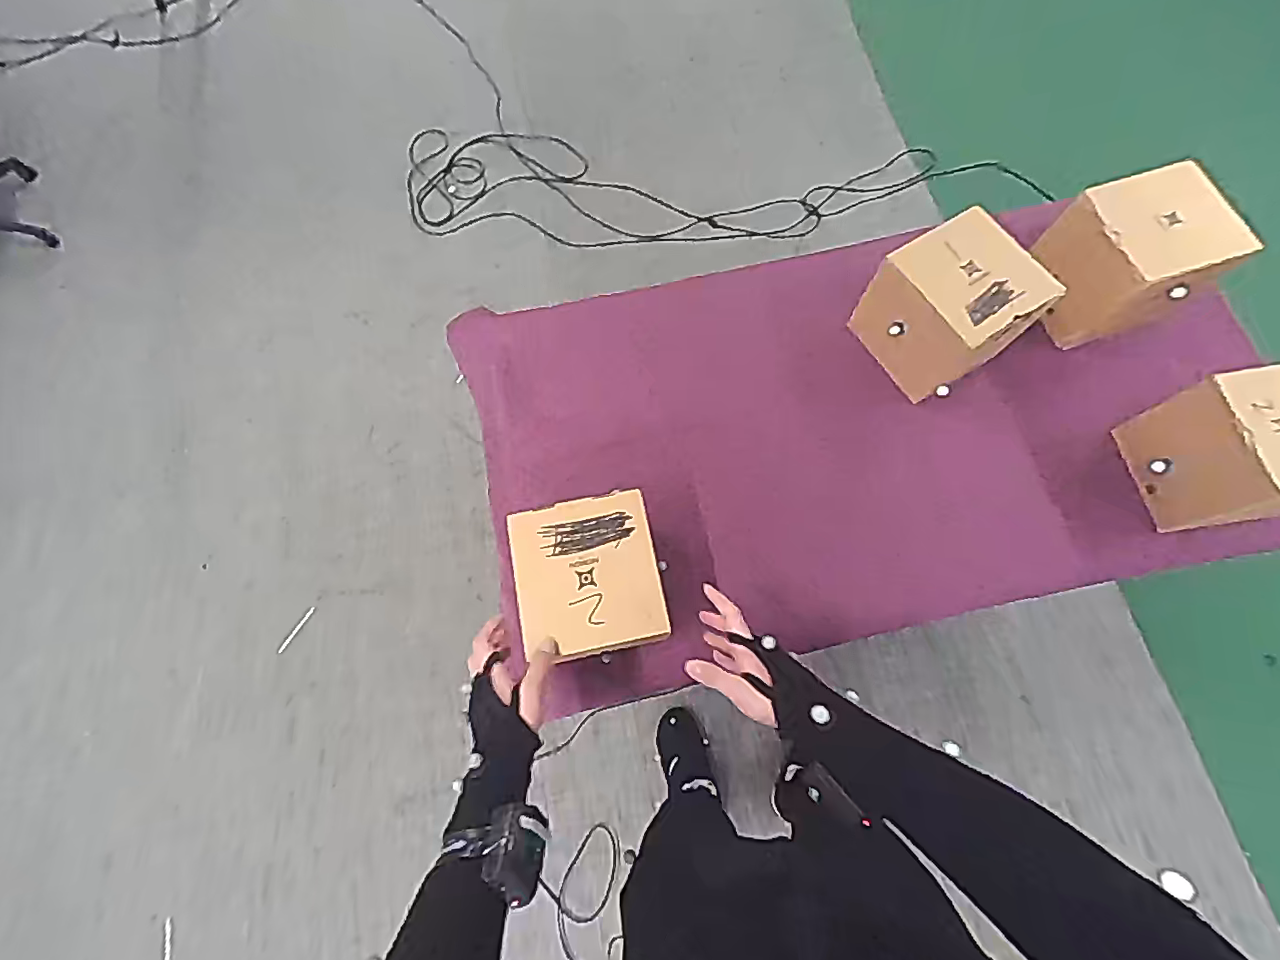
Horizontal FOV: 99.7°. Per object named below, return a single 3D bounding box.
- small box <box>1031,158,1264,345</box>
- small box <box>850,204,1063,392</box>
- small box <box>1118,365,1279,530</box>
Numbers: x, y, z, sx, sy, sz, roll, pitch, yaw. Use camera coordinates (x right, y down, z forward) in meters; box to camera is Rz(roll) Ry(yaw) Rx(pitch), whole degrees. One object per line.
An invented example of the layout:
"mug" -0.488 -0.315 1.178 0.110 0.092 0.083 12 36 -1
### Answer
"small box" 0.725 -0.332 0.810 0.179 0.176 0.168 -18 73 -1
"small box" 0.446 -0.252 0.796 0.168 0.176 0.179 -30 73 -7
"small box" 0.803 -0.040 0.709 0.179 0.176 0.168 -9 71 1
